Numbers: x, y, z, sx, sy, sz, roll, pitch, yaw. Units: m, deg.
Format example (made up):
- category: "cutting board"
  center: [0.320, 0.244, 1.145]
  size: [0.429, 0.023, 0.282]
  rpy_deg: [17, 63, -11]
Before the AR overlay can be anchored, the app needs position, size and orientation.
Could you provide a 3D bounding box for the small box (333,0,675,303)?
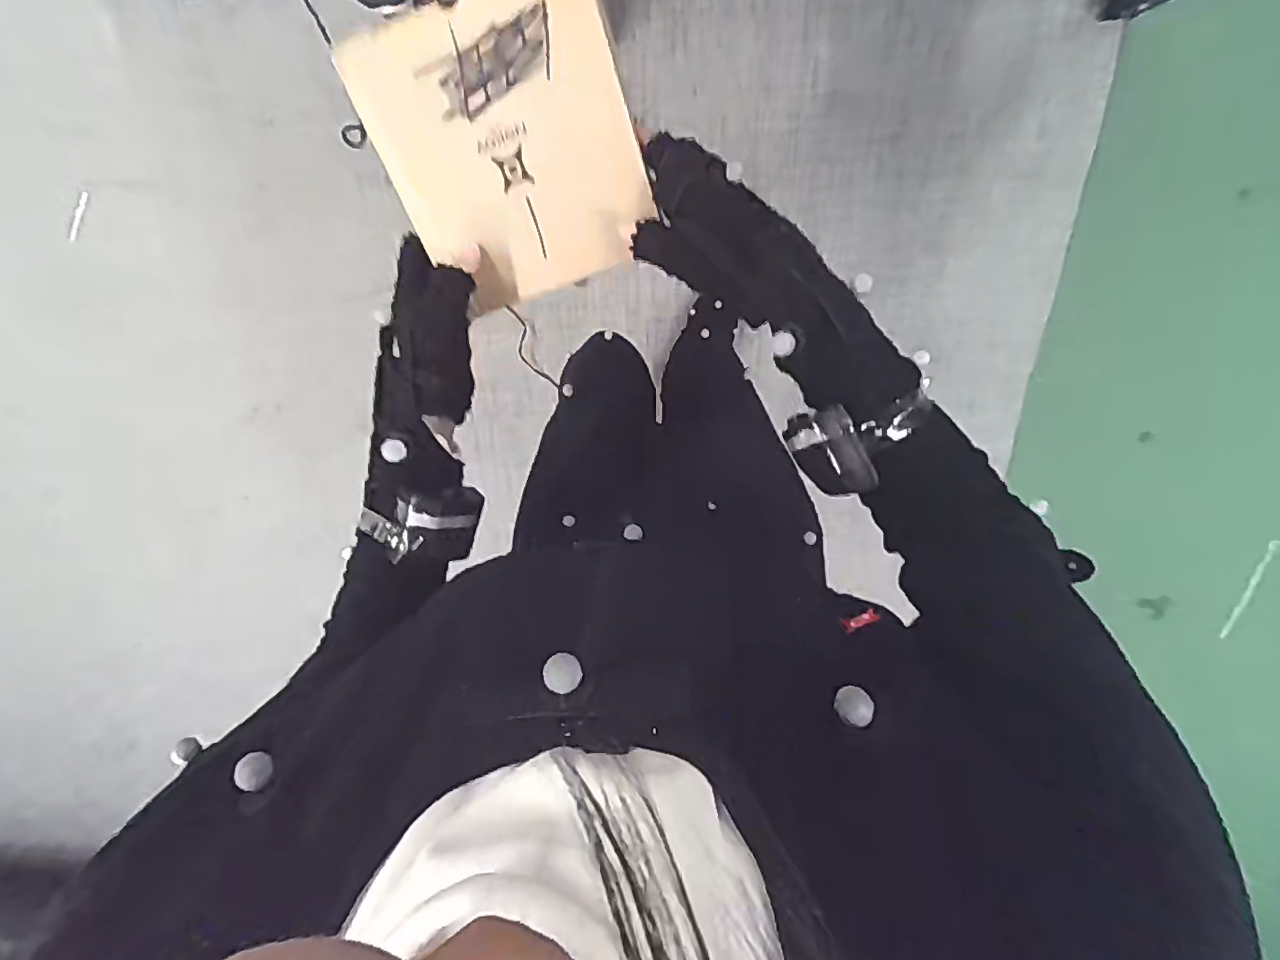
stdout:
- category: "small box"
  center: [-0.078, -0.257, 0.411]
  size: [0.168, 0.176, 0.179]
  rpy_deg: [-16, 117, 10]
